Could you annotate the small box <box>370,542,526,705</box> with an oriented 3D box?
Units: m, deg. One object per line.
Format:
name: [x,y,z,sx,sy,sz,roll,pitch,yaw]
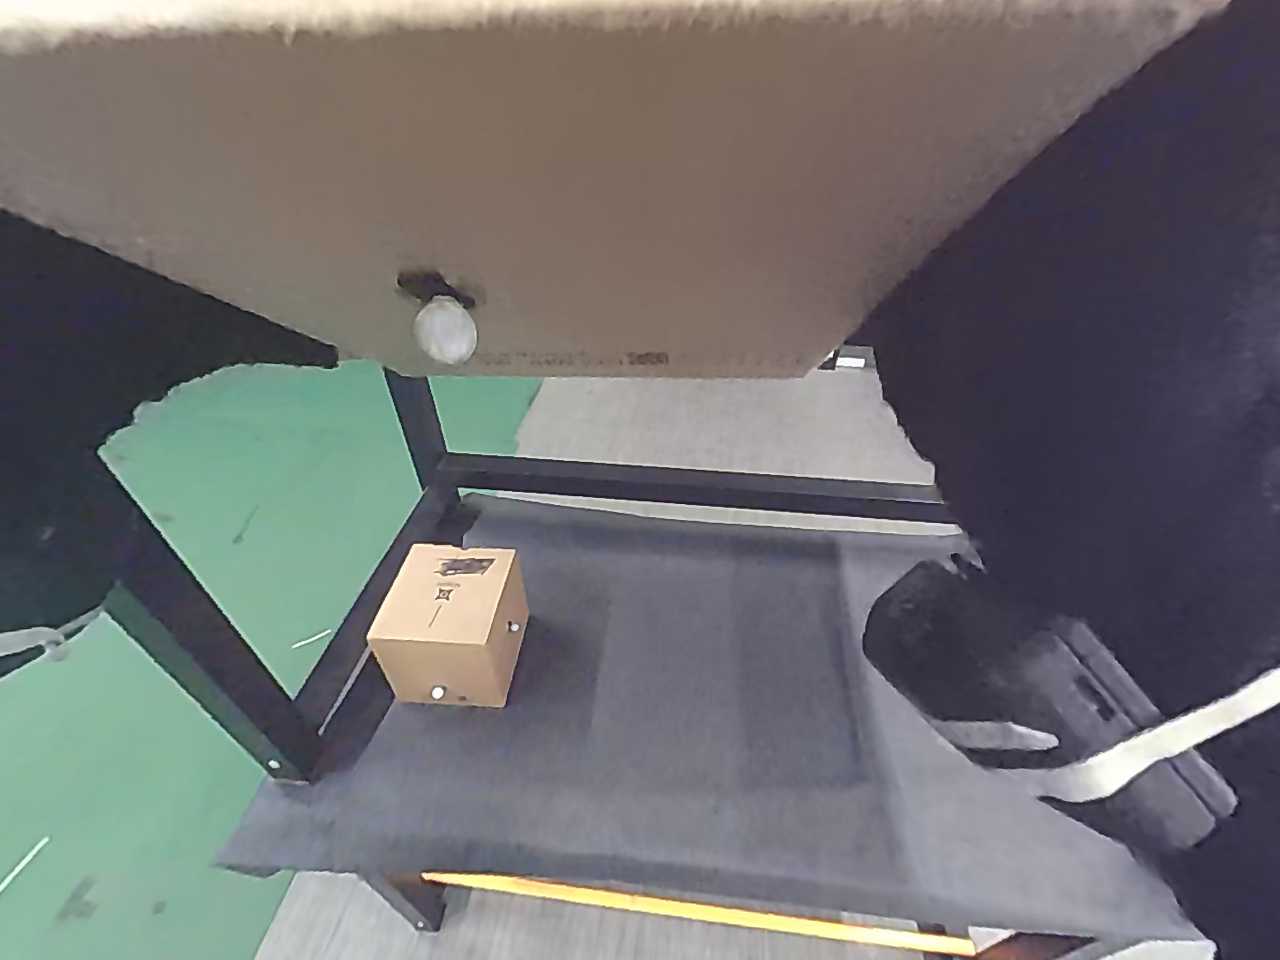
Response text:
small box: [-0.279,0.219,0.836,0.168,0.176,0.179,2,40,3]

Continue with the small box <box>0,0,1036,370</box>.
small box: [-0.030,-0.129,0.138,0.168,0.179,0.176,1,-2,6]
